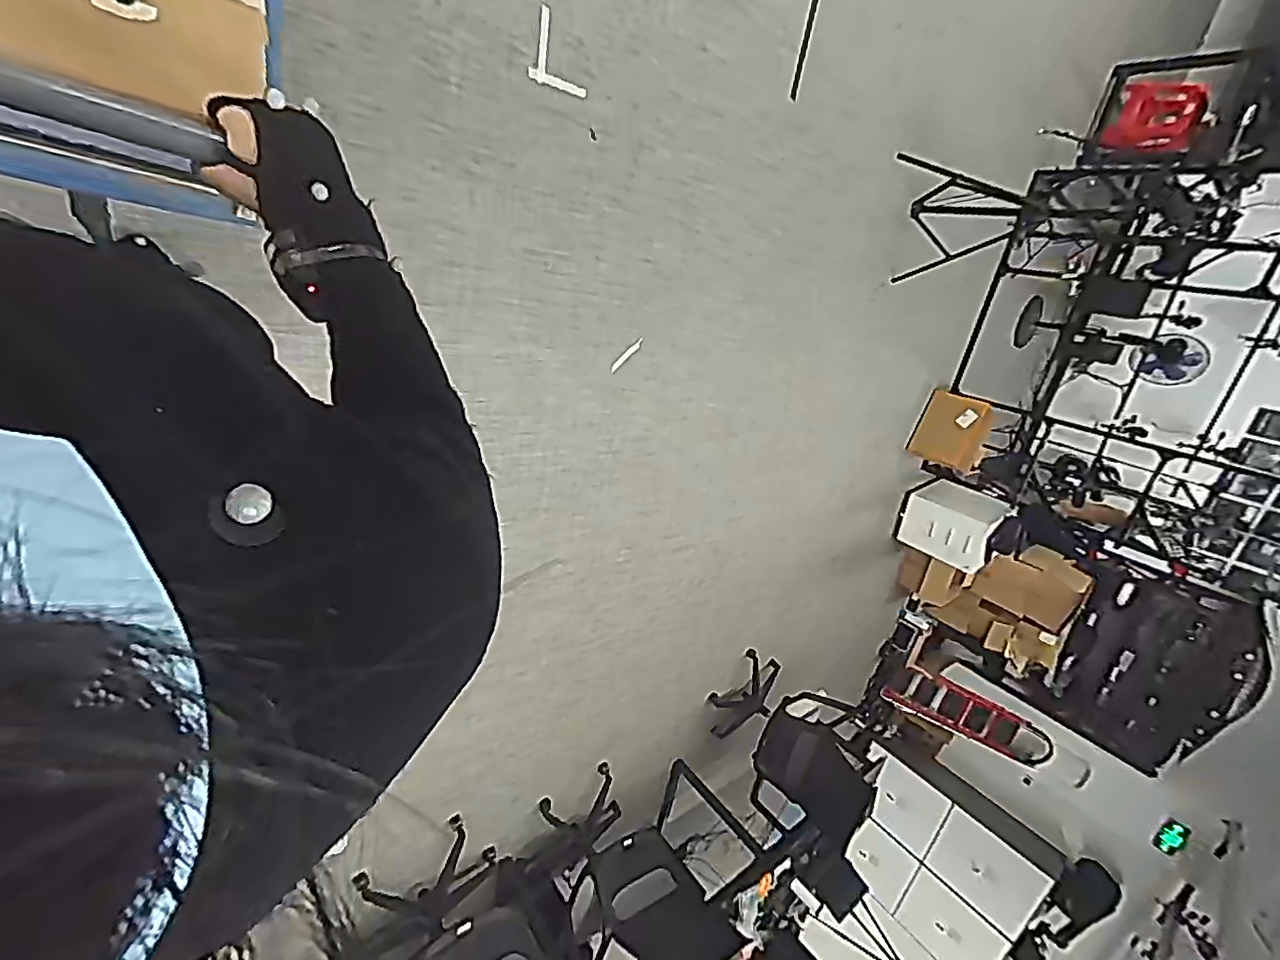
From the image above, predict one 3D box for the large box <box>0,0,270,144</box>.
[{"bbox_3d":[-0.740,-0.652,0.672,0.408,0.320,0.320,-9,118,-41],"label":"large box"}]
